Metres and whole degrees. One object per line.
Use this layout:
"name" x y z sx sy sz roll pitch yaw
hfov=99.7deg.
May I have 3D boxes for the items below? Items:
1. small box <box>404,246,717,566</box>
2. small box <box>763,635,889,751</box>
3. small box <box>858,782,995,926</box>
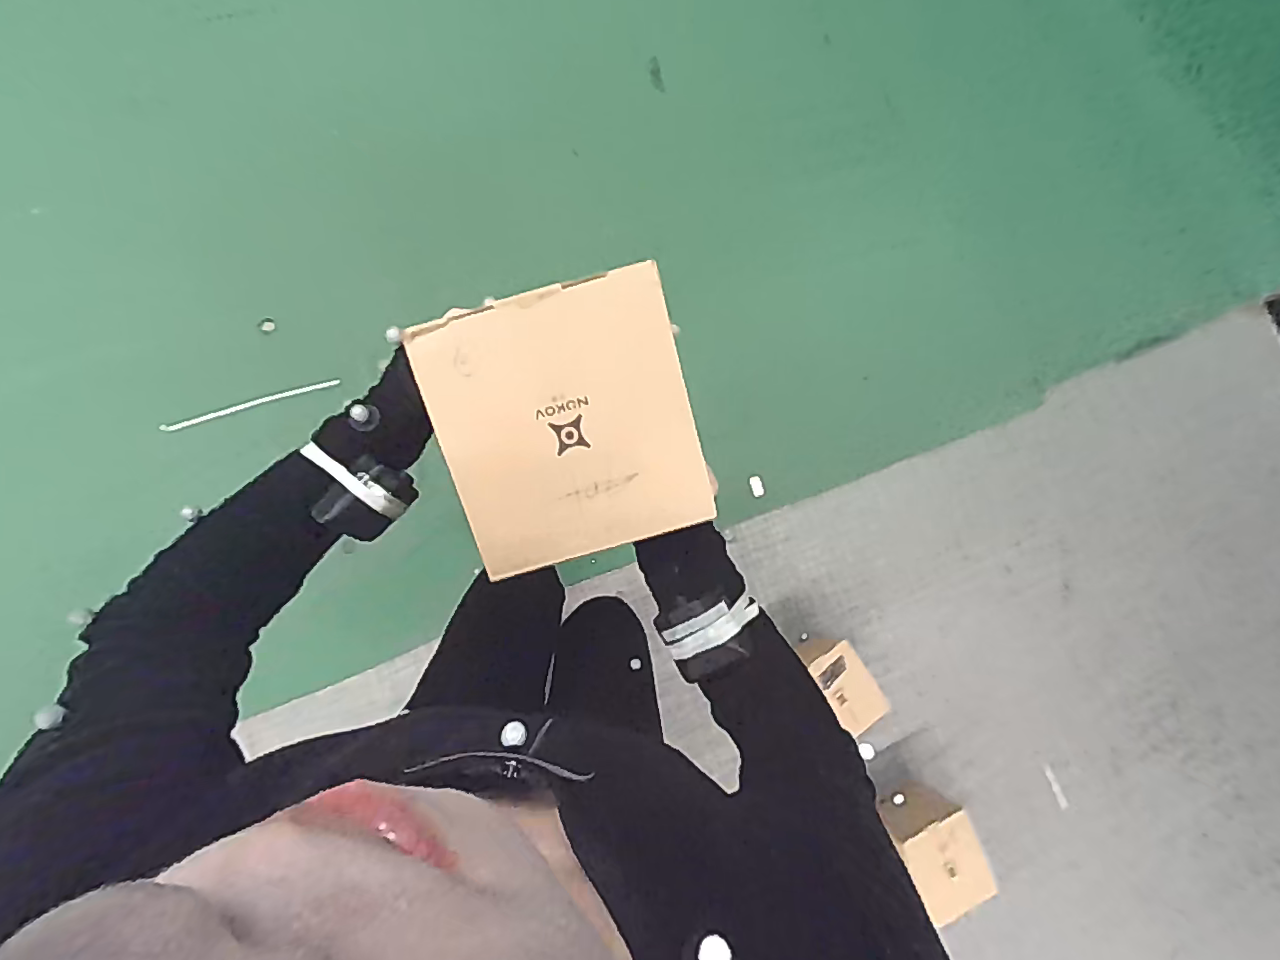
"small box" -0.051 -0.059 0.424 0.168 0.176 0.179 -15 104 0
"small box" 0.406 0.465 1.216 0.168 0.176 0.179 -31 86 -13
"small box" 0.615 0.803 1.181 0.168 0.176 0.179 -19 82 -12
